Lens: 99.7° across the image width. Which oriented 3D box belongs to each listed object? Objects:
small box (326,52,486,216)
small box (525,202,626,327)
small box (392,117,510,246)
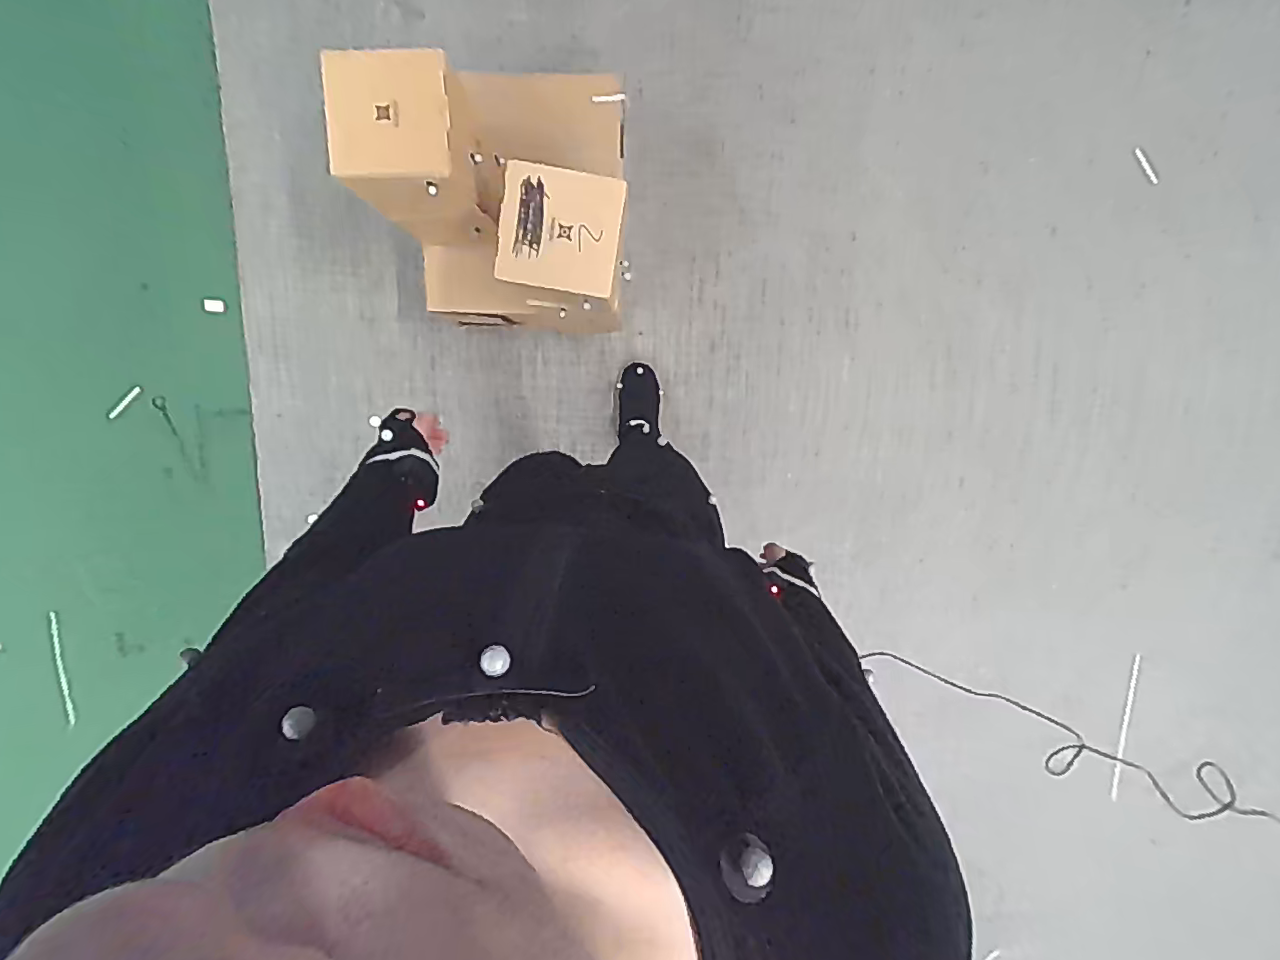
[{"bbox_3d":[-0.353,-0.526,0.844,0.179,0.176,0.168,0,98,0],"label":"small box"},{"bbox_3d":[-0.115,-0.399,1.025,0.168,0.176,0.179,5,98,-1],"label":"small box"},{"bbox_3d":[-0.345,-0.546,1.006,0.179,0.176,0.168,-1,97,1],"label":"small box"}]
